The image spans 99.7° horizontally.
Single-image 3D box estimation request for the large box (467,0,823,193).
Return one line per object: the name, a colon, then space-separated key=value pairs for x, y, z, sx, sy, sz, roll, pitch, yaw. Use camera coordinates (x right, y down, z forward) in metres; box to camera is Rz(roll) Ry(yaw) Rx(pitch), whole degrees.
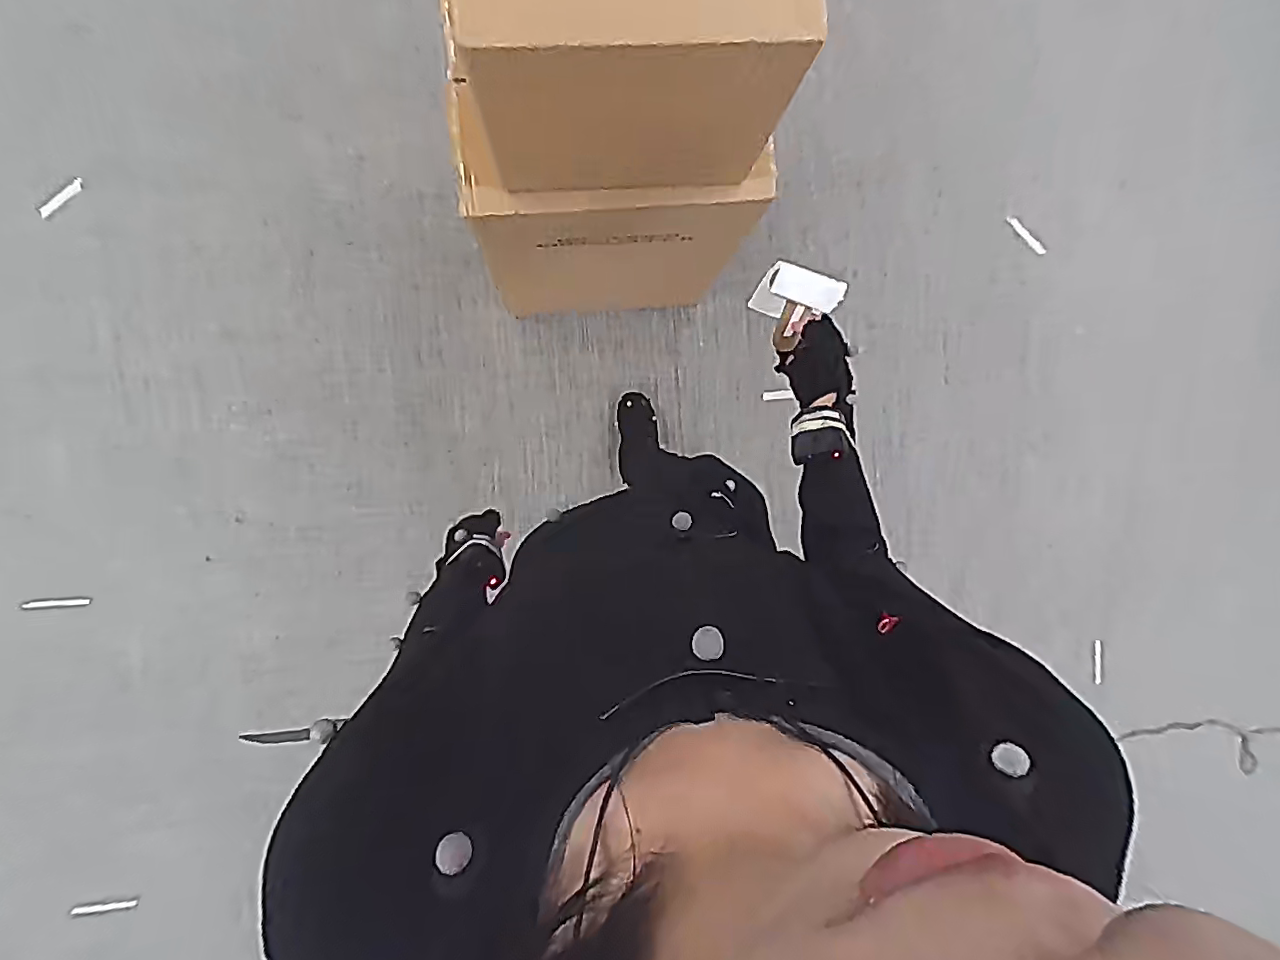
large box: x=-0.019 y=-0.631 z=0.742 sx=0.408 sy=0.320 sz=0.320 roll=-6 pitch=93 yaw=-6
